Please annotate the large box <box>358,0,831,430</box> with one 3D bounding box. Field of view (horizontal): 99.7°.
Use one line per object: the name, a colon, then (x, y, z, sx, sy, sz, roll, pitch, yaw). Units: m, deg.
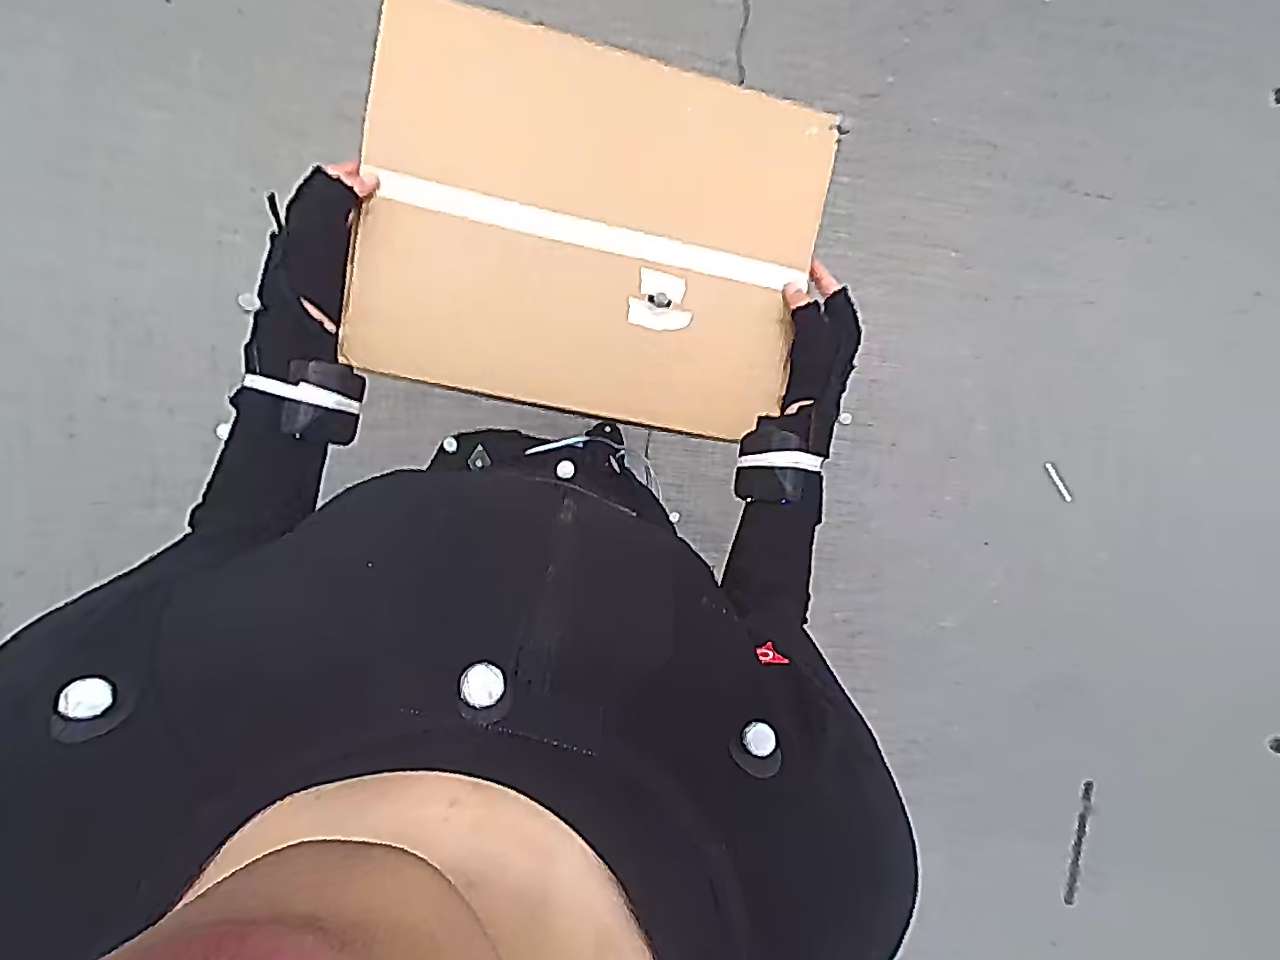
large box: (-0.059, -0.245, 0.642, 0.408, 0.320, 0.320, 9, 97, -10)
